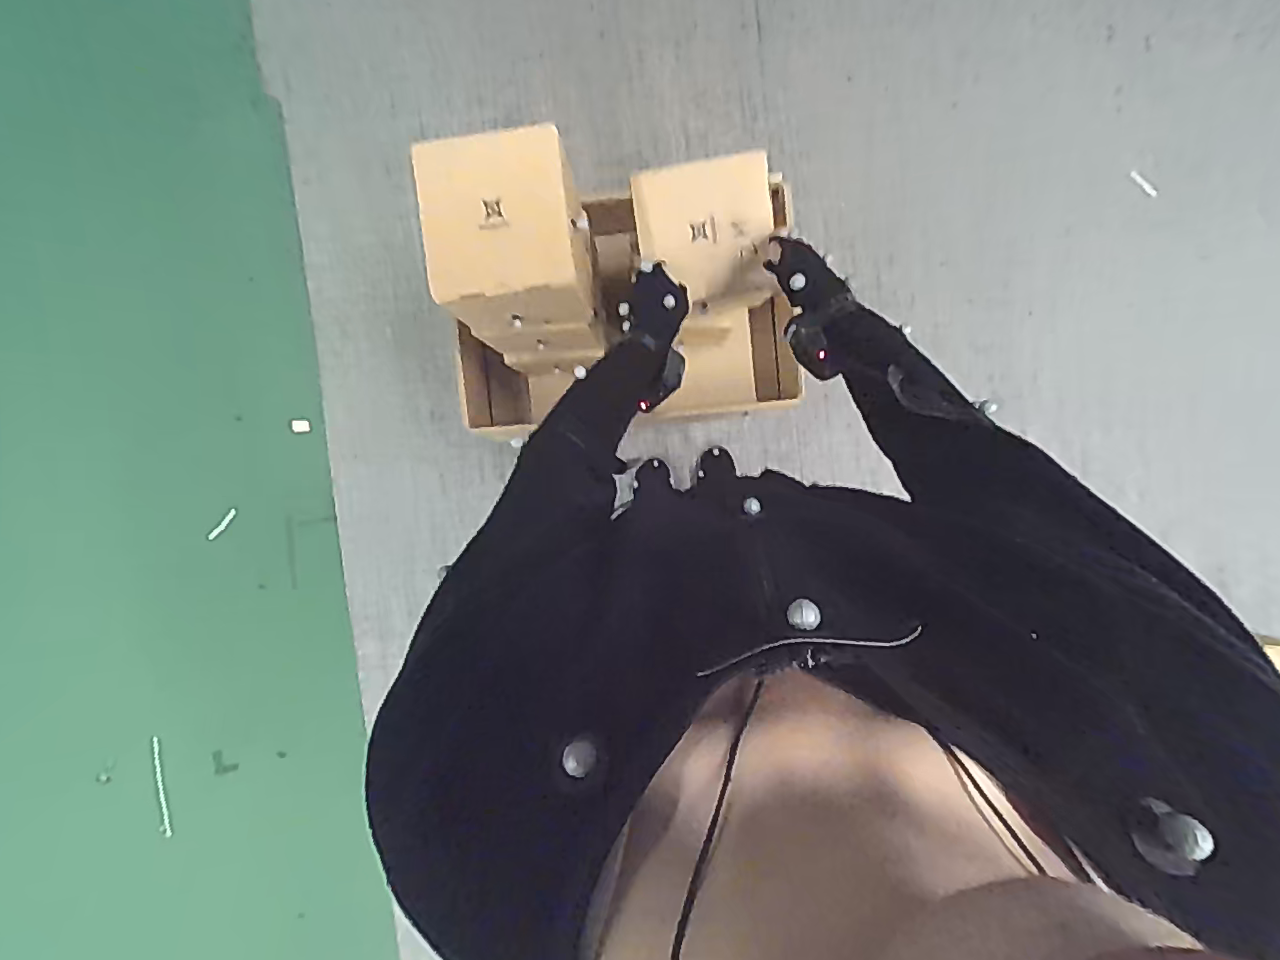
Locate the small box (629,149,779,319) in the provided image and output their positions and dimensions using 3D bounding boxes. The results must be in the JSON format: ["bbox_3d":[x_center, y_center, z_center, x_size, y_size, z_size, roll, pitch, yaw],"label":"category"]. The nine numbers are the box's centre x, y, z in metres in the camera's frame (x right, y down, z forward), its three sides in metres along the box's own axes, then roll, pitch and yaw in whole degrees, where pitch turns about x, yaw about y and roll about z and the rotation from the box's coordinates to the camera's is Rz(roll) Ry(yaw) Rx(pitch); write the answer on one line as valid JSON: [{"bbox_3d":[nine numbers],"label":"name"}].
[{"bbox_3d":[0.087,-0.331,0.763,0.179,0.176,0.168,-8,99,4],"label":"small box"}]

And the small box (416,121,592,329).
[{"bbox_3d":[-0.158,-0.304,0.678,0.168,0.176,0.179,-6,93,2],"label":"small box"}]
